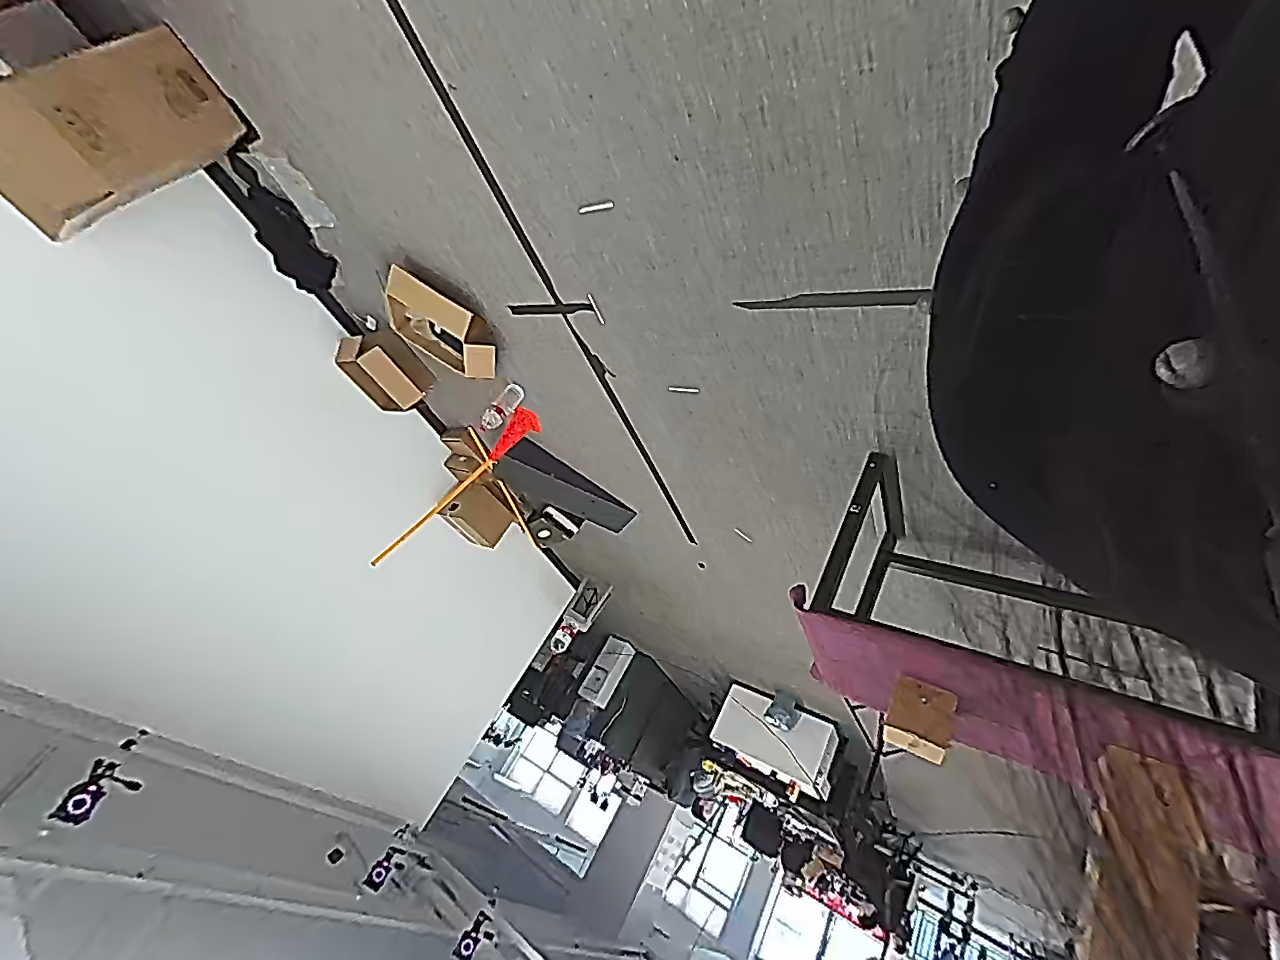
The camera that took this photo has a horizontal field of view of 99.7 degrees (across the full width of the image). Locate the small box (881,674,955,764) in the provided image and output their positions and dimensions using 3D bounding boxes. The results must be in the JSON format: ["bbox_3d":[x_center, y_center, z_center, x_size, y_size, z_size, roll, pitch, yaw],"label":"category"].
[{"bbox_3d":[0.842,0.721,1.639,0.168,0.176,0.179,14,147,31],"label":"small box"}]

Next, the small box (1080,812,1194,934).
[{"bbox_3d":[1.159,0.916,1.263,0.168,0.176,0.179,11,147,36],"label":"small box"}]

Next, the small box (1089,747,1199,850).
[{"bbox_3d":[1.236,0.789,1.333,0.168,0.176,0.179,12,147,35],"label":"small box"}]

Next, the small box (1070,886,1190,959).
[{"bbox_3d":[1.075,1.037,1.190,0.168,0.176,0.179,12,146,35],"label":"small box"}]
